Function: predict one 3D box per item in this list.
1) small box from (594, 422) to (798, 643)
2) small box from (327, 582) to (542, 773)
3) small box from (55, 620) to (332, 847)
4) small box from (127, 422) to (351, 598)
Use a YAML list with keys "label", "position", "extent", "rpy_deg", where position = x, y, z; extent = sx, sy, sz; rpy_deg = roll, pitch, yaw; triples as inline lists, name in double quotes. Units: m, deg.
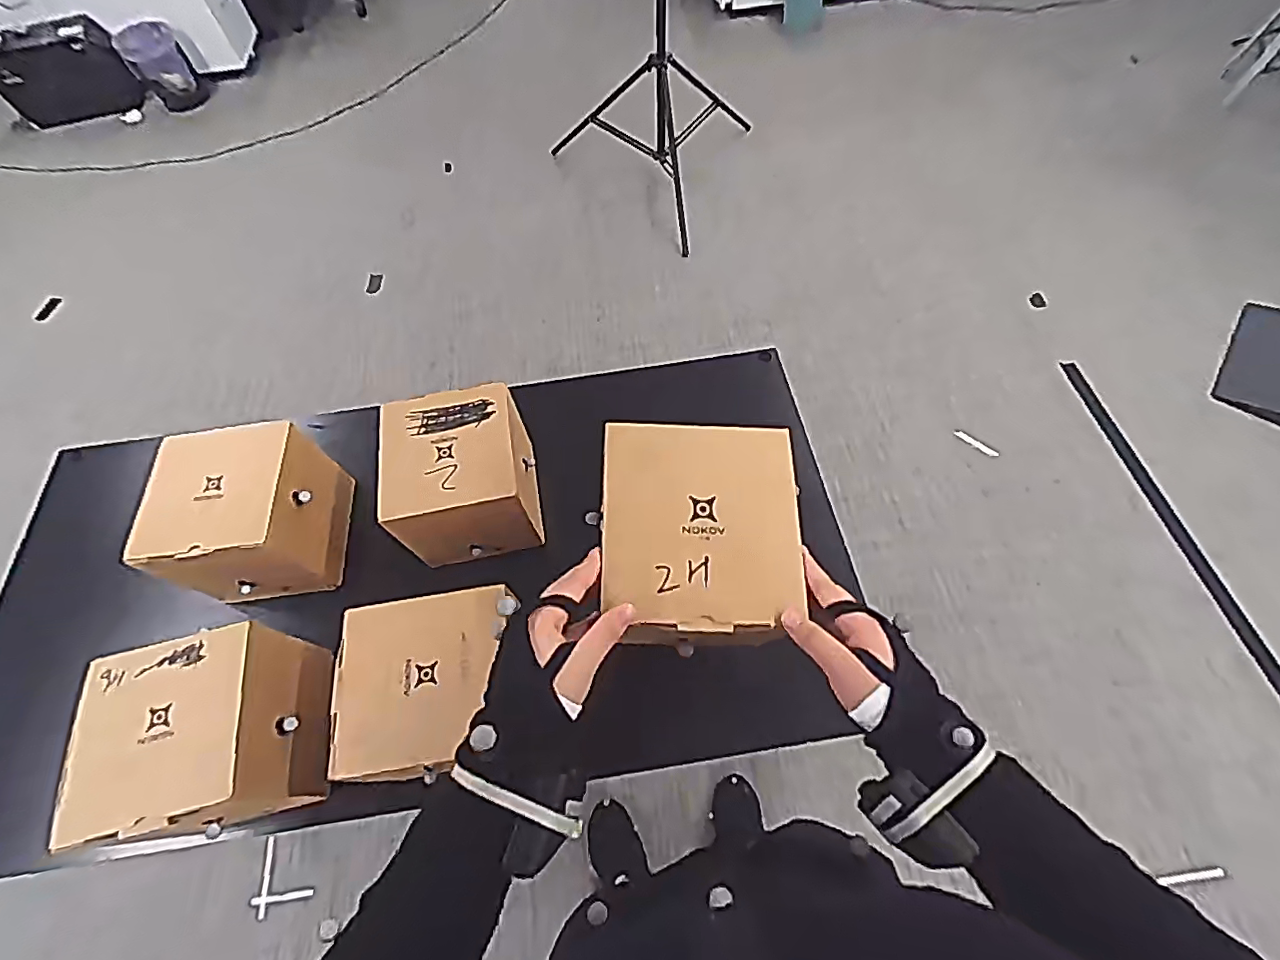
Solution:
- label: "small box"
  position: [0.040, 0.060, 0.529]
  extent: [0.168, 0.176, 0.179]
  rpy_deg: [1, 69, -3]
- label: "small box"
  position: [-0.219, 0.232, 0.620]
  extent: [0.179, 0.176, 0.168]
  rpy_deg: [-9, 62, -3]
- label: "small box"
  position: [-0.472, 0.279, 0.607]
  extent: [0.168, 0.176, 0.179]
  rpy_deg: [-14, 62, -5]
- label: "small box"
  position: [-0.521, 0.046, 0.737]
  extent: [0.168, 0.176, 0.179]
  rpy_deg: [-7, 62, -1]
